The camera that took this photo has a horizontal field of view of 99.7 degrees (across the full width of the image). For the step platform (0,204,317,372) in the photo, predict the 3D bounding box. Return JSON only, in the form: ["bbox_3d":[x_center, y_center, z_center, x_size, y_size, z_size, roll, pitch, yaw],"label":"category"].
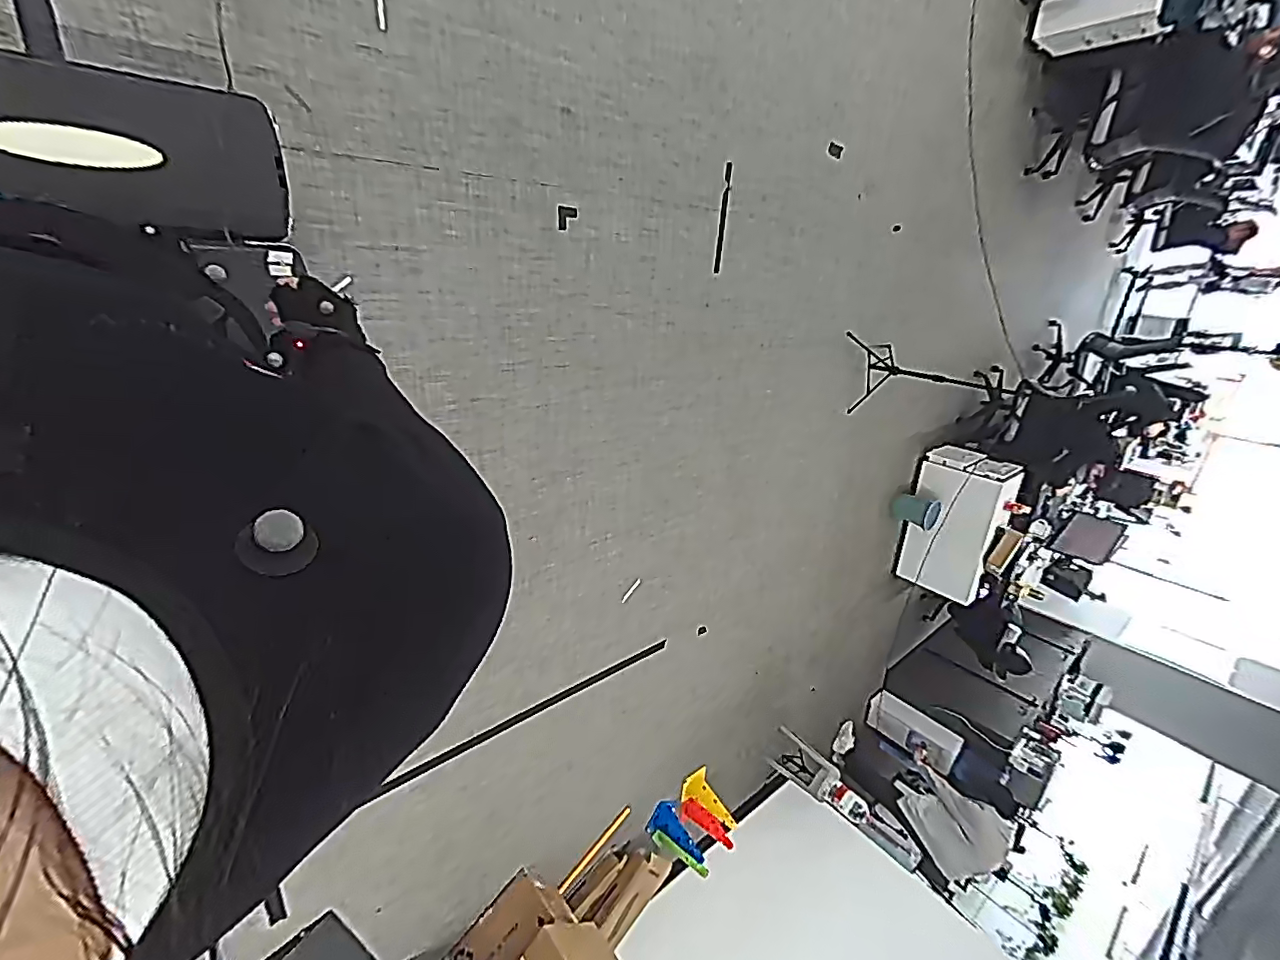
[{"bbox_3d":[-1.045,-0.382,1.081,0.684,0.204,0.286,-14,117,-36],"label":"step platform"}]
